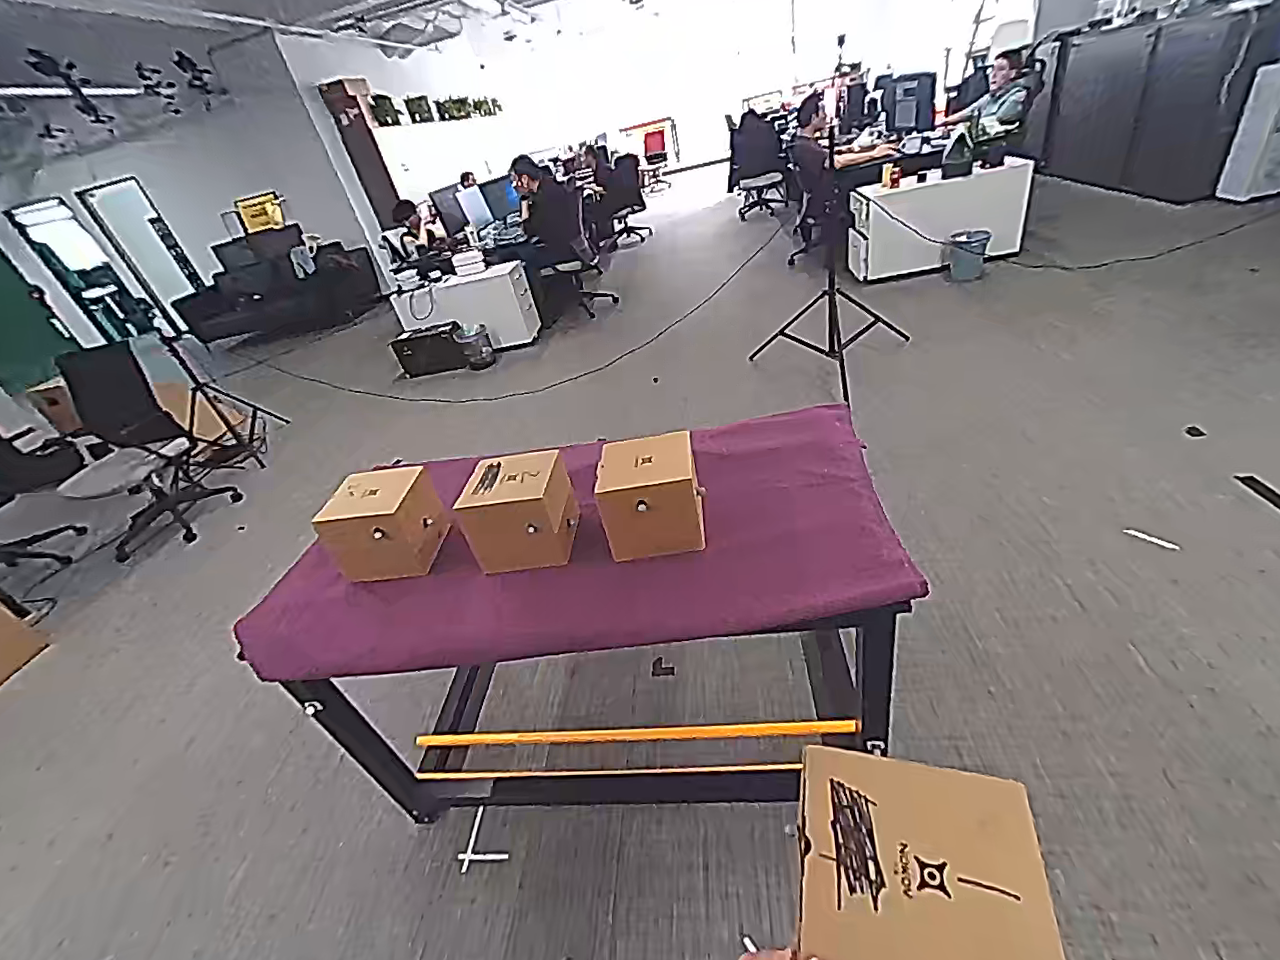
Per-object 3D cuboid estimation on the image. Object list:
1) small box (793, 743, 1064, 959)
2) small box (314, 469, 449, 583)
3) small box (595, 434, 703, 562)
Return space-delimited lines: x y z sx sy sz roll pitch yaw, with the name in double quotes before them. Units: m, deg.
"small box" 0.226 0.359 0.467 0.179 0.176 0.168 3 42 17
"small box" -0.530 0.099 1.144 0.179 0.176 0.168 -7 34 7
"small box" 0.025 0.036 1.037 0.179 0.176 0.168 -9 34 9
